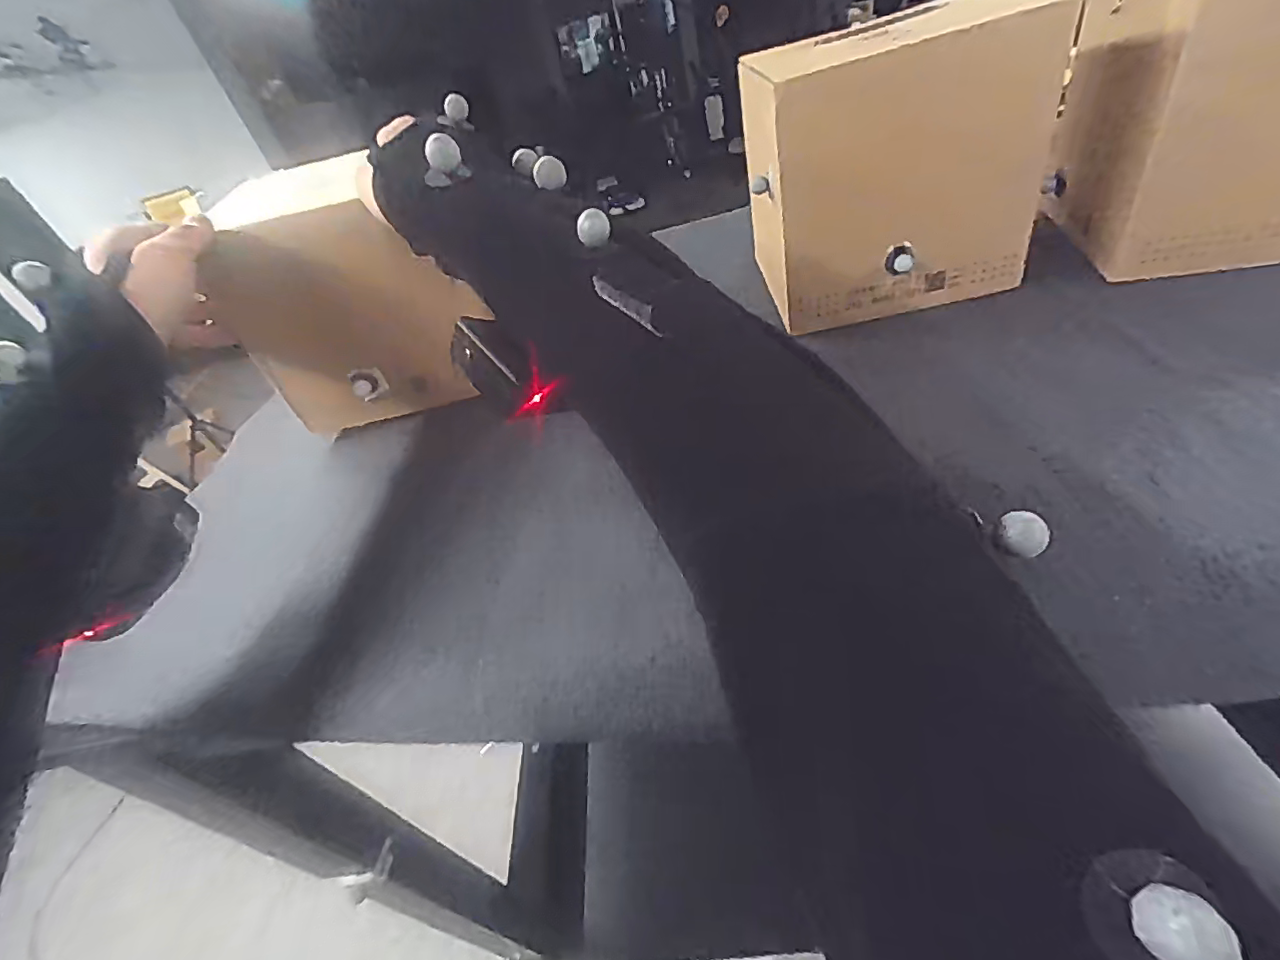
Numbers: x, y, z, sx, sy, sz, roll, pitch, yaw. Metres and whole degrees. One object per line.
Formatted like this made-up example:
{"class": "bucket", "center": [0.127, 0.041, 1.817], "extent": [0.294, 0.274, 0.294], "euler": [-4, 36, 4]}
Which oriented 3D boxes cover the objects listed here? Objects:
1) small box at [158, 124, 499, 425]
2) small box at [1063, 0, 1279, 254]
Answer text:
{"class": "small box", "center": [-0.227, -0.174, 0.456], "extent": [0.168, 0.176, 0.179], "euler": [-15, 43, -1]}
{"class": "small box", "center": [0.397, -0.256, 0.335], "extent": [0.179, 0.176, 0.168], "euler": [0, 42, 19]}
